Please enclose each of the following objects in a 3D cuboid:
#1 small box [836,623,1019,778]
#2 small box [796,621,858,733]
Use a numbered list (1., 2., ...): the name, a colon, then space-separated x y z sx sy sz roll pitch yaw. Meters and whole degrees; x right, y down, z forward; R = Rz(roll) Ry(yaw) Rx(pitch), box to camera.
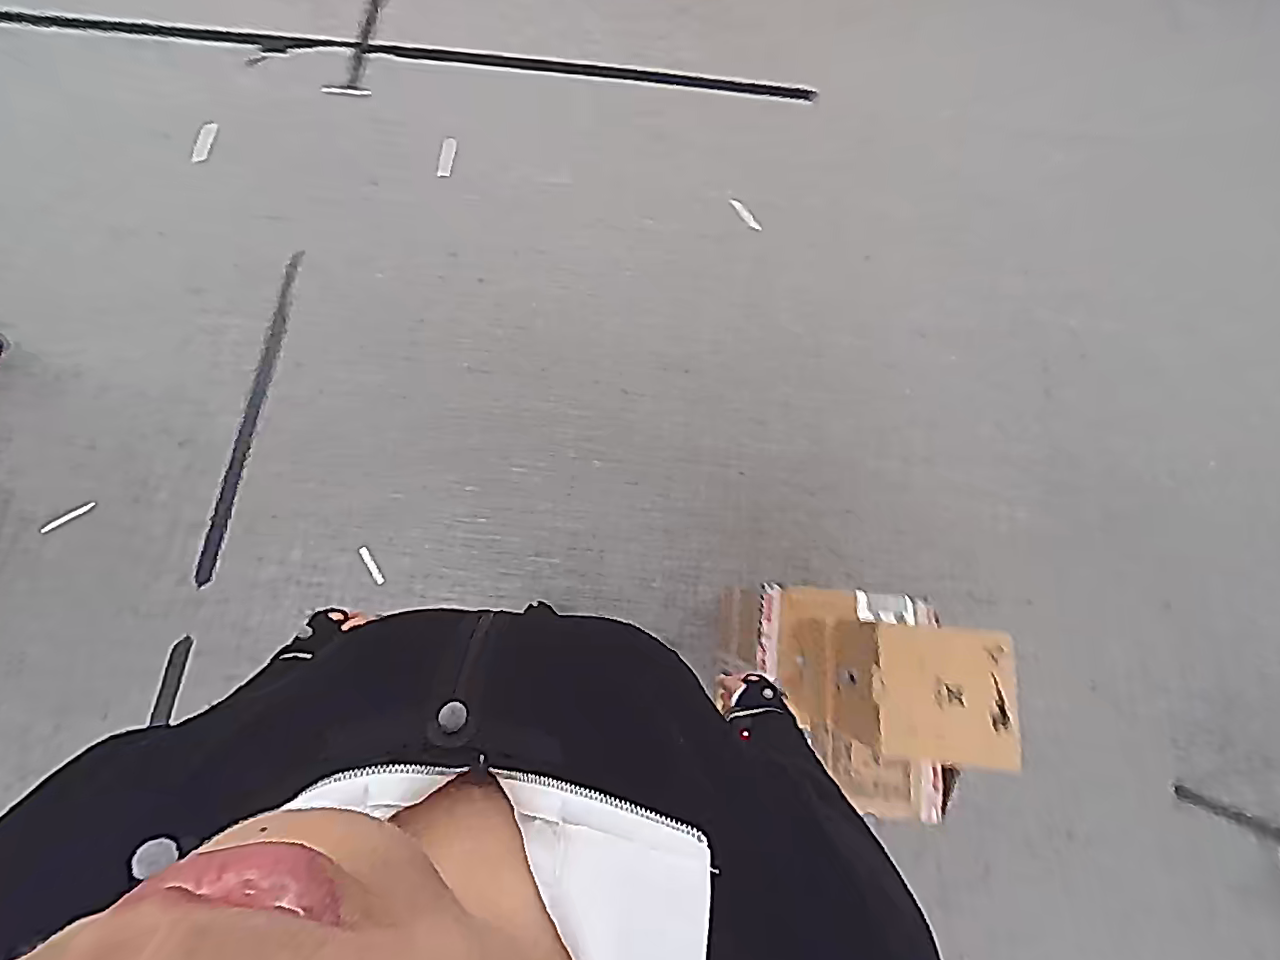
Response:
1. small box: 0.385 0.295 0.757 0.179 0.176 0.168 6 76 3
2. small box: 0.375 0.331 0.917 0.179 0.176 0.168 4 75 3
